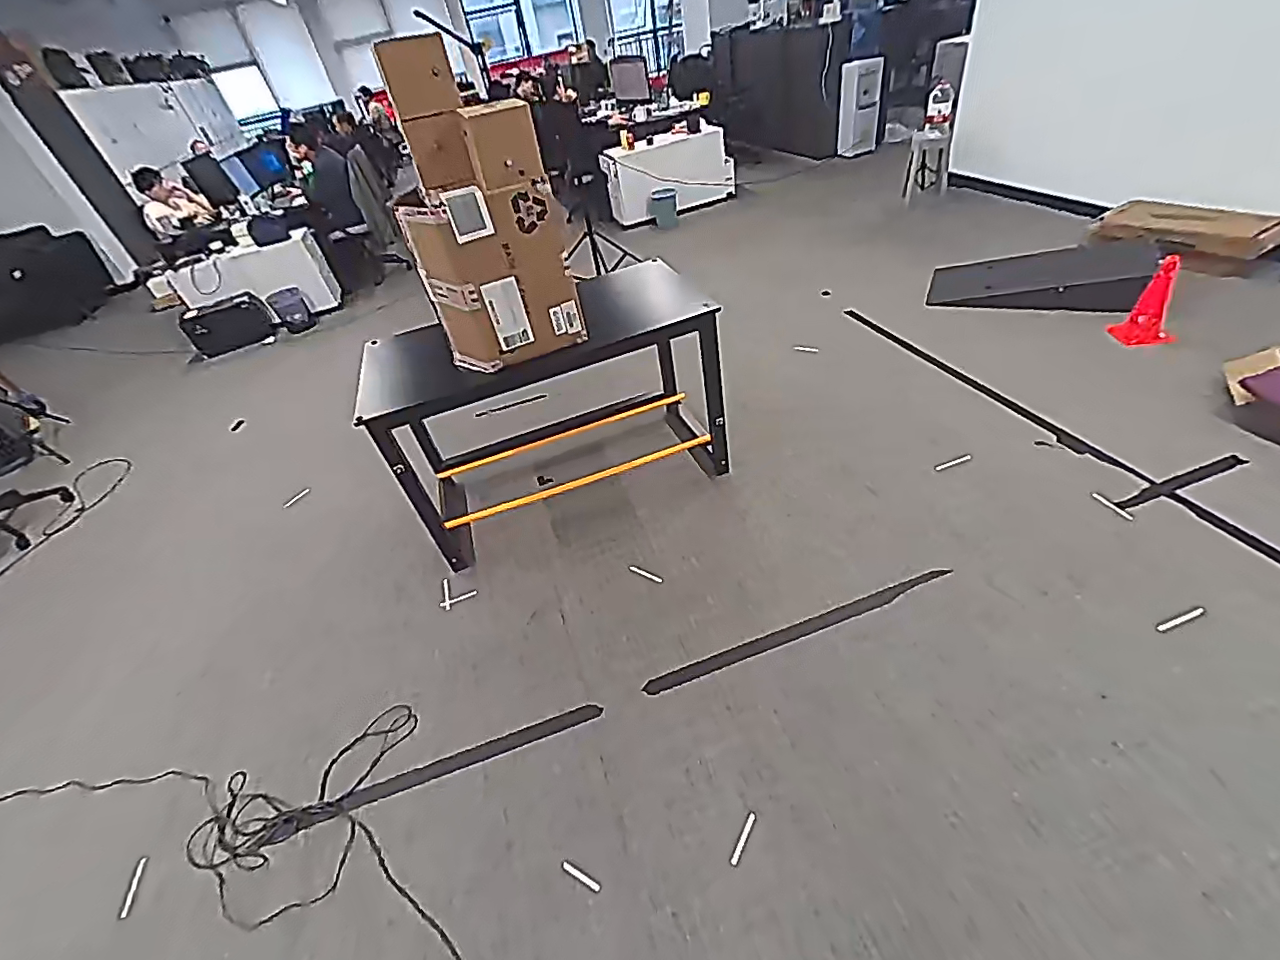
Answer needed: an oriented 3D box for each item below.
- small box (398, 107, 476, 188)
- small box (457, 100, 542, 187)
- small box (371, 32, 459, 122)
[{"bbox_3d":[-0.582,-0.965,1.572,0.179,0.176,0.168,-21,39,-11],"label":"small box"},{"bbox_3d":[-0.377,-0.907,1.458,0.168,0.176,0.179,-21,42,-12],"label":"small box"},{"bbox_3d":[-0.605,-1.089,1.467,0.179,0.176,0.168,-23,38,-13],"label":"small box"}]
